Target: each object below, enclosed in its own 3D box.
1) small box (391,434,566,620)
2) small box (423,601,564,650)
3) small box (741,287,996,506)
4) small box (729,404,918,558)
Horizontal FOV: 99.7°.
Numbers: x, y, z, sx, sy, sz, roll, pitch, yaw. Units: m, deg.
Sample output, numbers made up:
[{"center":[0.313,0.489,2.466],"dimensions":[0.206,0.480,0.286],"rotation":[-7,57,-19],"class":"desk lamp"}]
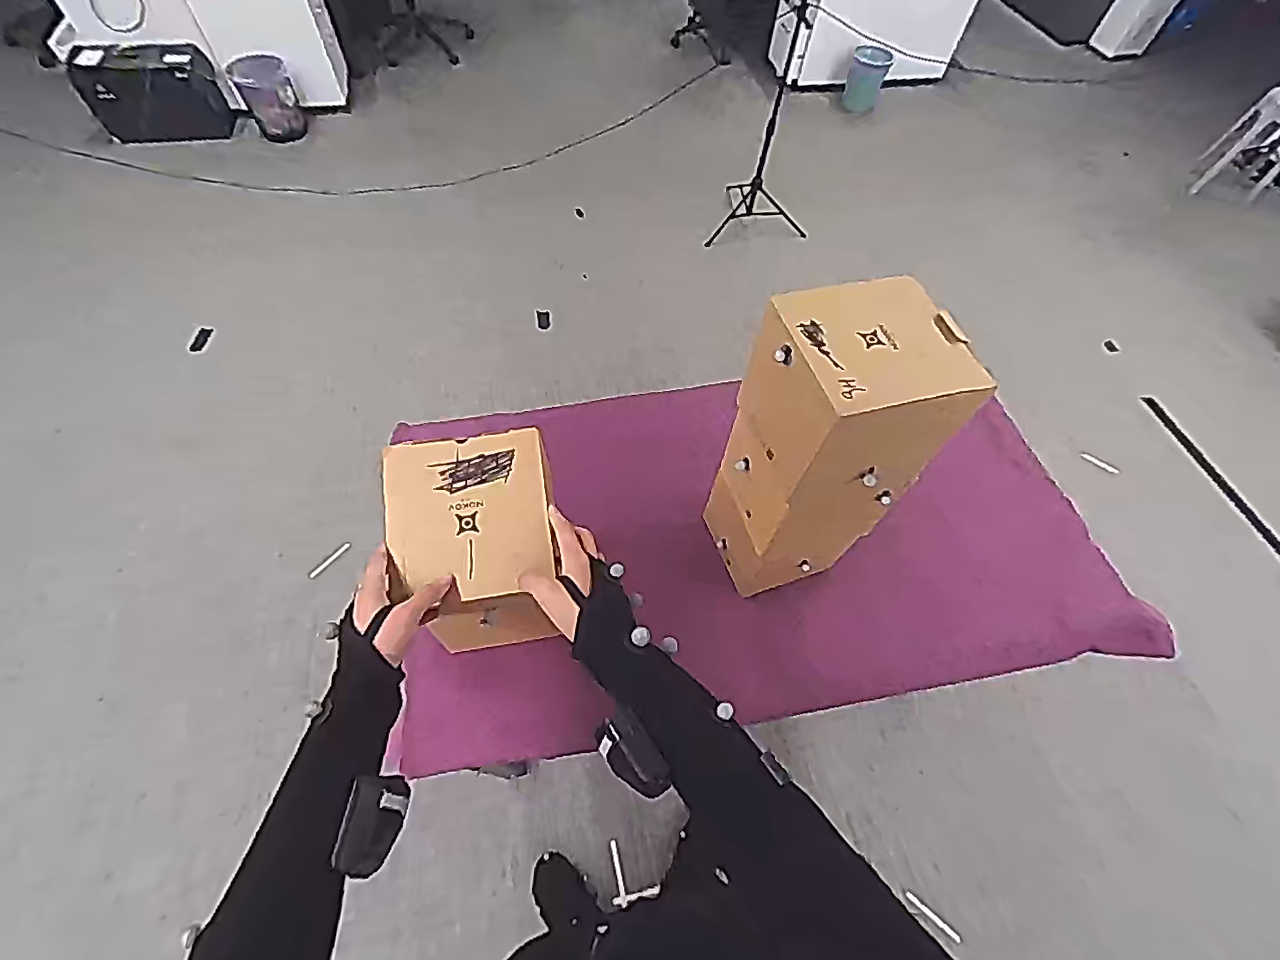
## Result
[{"center":[-0.180,0.063,0.640],"dimensions":[0.168,0.176,0.179],"rotation":[-8,75,-7],"class":"small box"},{"center":[-0.212,0.145,0.813],"dimensions":[0.179,0.176,0.168],"rotation":[-6,58,-9],"class":"small box"},{"center":[0.236,-0.090,0.610],"dimensions":[0.179,0.176,0.168],"rotation":[-10,59,-11],"class":"small box"},{"center":[0.234,-0.008,0.752],"dimensions":[0.179,0.176,0.168],"rotation":[-11,60,-11],"class":"small box"}]
